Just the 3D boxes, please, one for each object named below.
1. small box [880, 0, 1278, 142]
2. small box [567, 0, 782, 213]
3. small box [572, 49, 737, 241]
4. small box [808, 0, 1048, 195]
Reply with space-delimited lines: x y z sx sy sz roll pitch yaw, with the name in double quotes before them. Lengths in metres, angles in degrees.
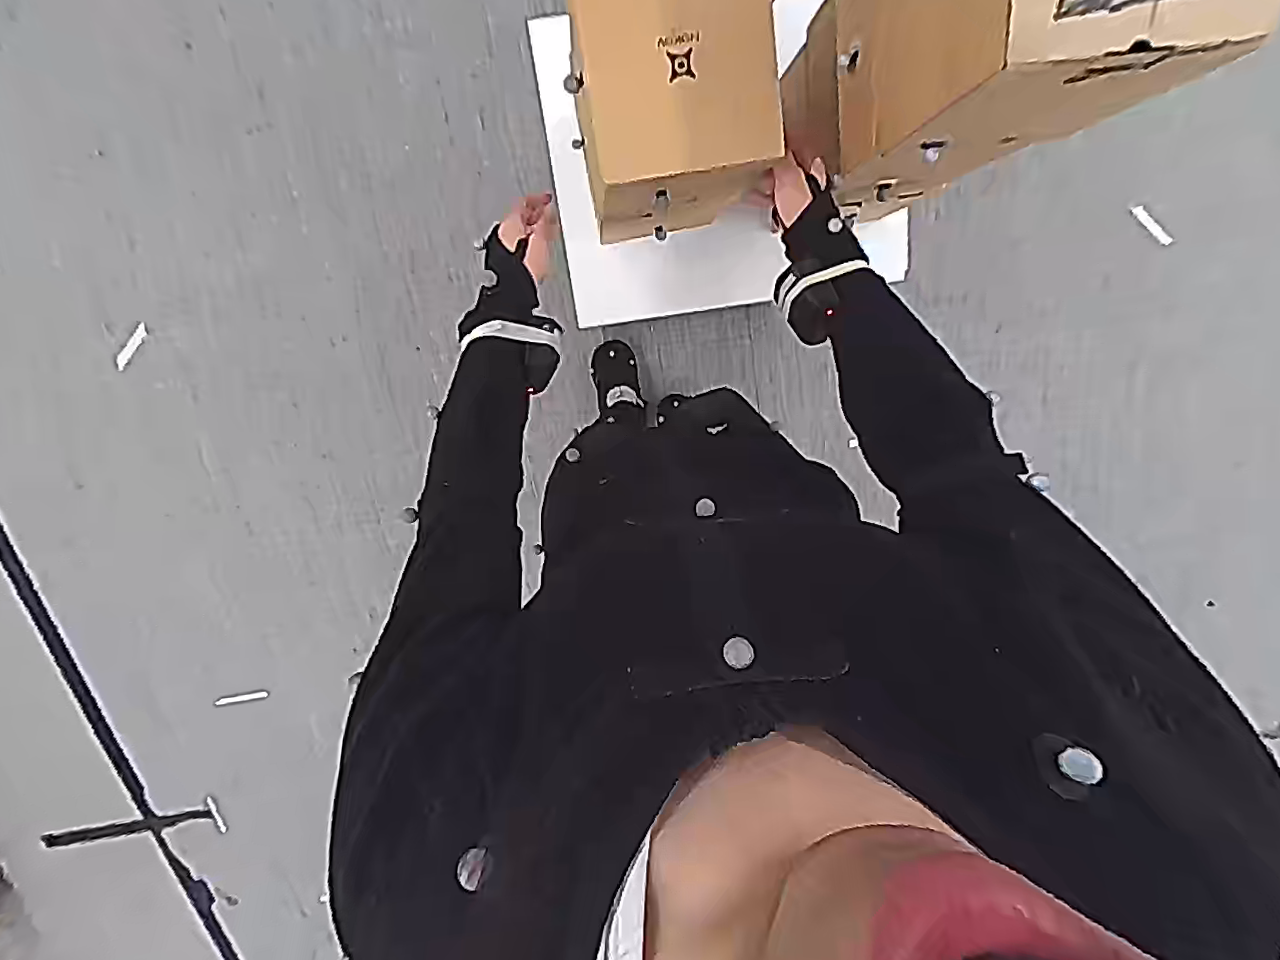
"small box" 0.286 -0.361 0.380 0.168 0.176 0.179 -6 104 -1
"small box" 0.027 -0.376 0.528 0.168 0.176 0.179 -11 105 -2
"small box" 0.013 -0.421 0.684 0.168 0.176 0.179 -11 106 -1
"small box" 0.275 -0.407 0.537 0.168 0.176 0.179 -8 106 0
